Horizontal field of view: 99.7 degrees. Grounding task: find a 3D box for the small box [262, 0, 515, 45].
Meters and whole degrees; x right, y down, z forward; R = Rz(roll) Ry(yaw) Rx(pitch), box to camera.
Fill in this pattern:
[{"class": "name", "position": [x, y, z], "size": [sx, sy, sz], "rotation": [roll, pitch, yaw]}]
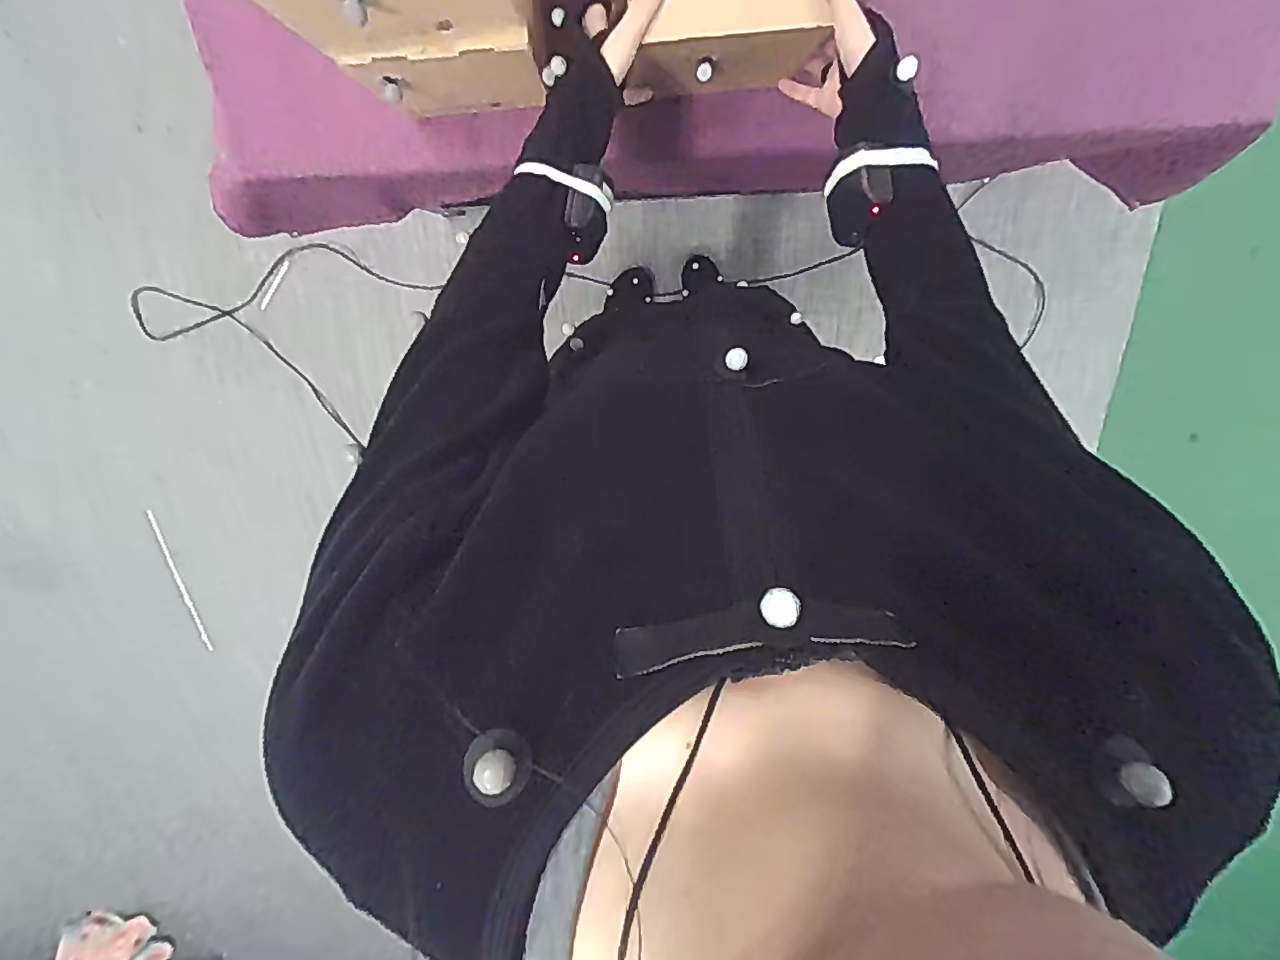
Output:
[{"class": "small box", "position": [-0.187, -0.411, 0.342], "size": [0.168, 0.176, 0.179], "rotation": [-7, 110, 1]}]
